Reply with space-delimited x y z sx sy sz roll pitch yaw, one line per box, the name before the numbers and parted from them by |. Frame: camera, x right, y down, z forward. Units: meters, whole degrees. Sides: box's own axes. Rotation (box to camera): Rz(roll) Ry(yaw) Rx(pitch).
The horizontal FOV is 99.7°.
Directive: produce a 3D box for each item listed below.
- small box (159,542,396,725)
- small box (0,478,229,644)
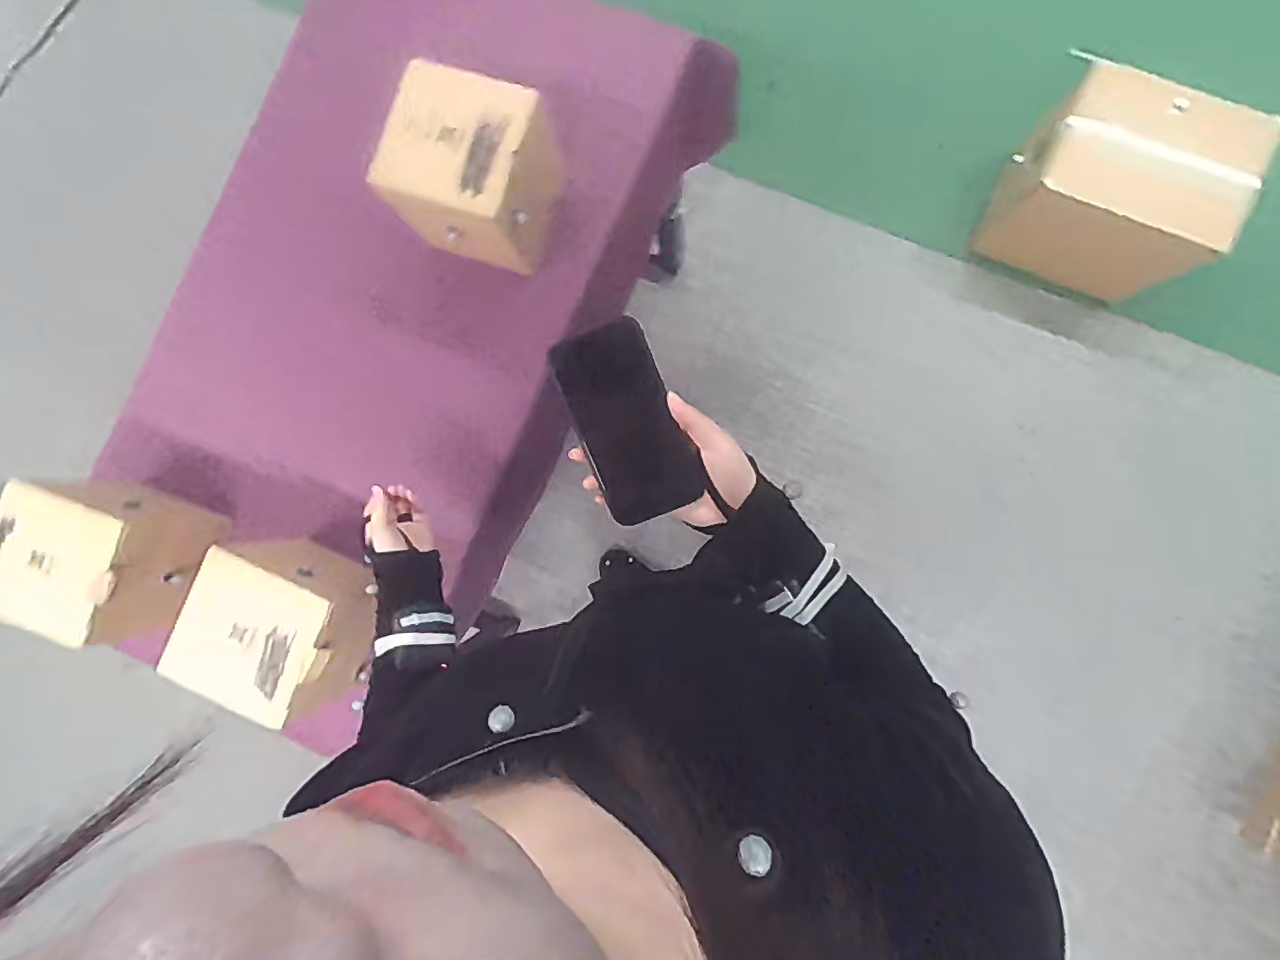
small box | -0.467 0.189 0.728 0.179 0.176 0.168 22 88 7
small box | -0.732 0.103 0.753 0.179 0.176 0.168 19 88 4
